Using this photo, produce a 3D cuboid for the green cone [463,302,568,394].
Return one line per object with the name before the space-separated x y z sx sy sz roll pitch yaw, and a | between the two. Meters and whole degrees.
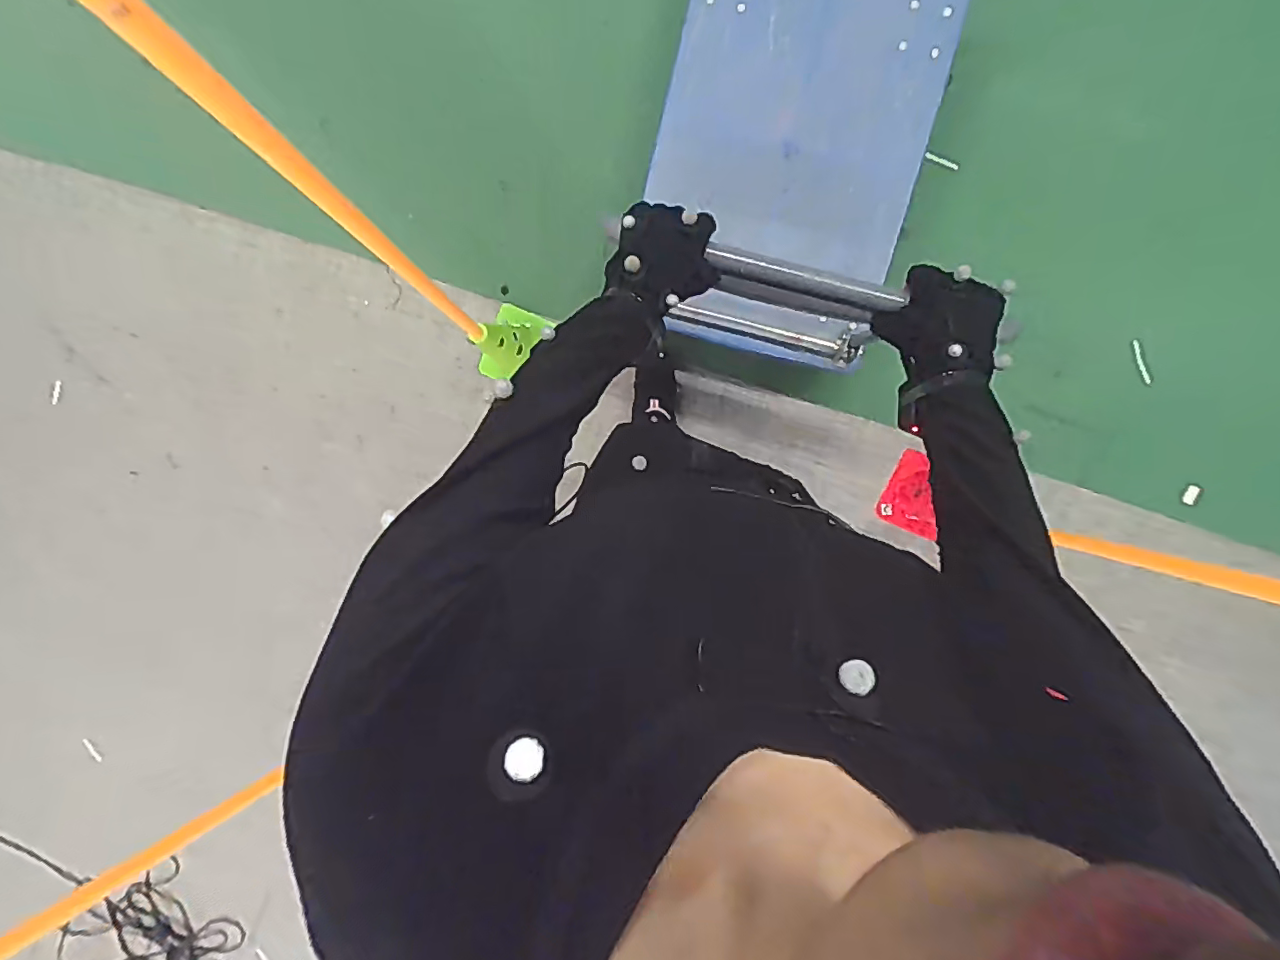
green cone | -0.324 -0.335 1.277 0.202 0.368 0.200 23 97 1
